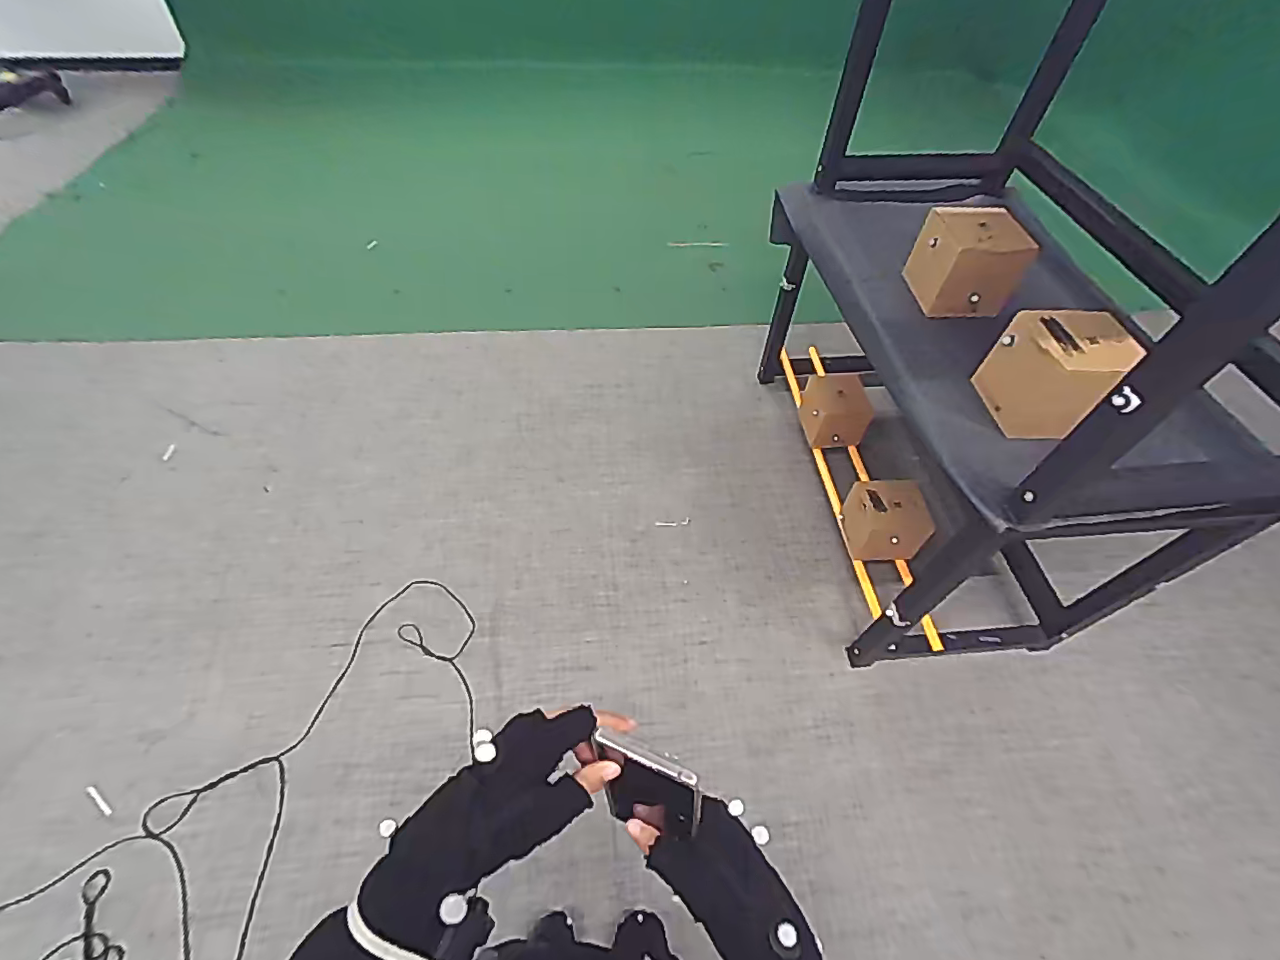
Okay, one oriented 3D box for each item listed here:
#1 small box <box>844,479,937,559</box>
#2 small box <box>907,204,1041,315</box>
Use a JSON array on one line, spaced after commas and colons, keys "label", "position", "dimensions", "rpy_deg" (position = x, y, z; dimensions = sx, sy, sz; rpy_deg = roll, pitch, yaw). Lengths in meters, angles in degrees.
[{"label": "small box", "position": [0.696, 0.114, 1.532], "dimensions": [0.179, 0.176, 0.168], "rpy_deg": [-1, 53, -2]}, {"label": "small box", "position": [0.732, -0.493, 1.211], "dimensions": [0.168, 0.176, 0.179], "rpy_deg": [-1, 53, -2]}]
